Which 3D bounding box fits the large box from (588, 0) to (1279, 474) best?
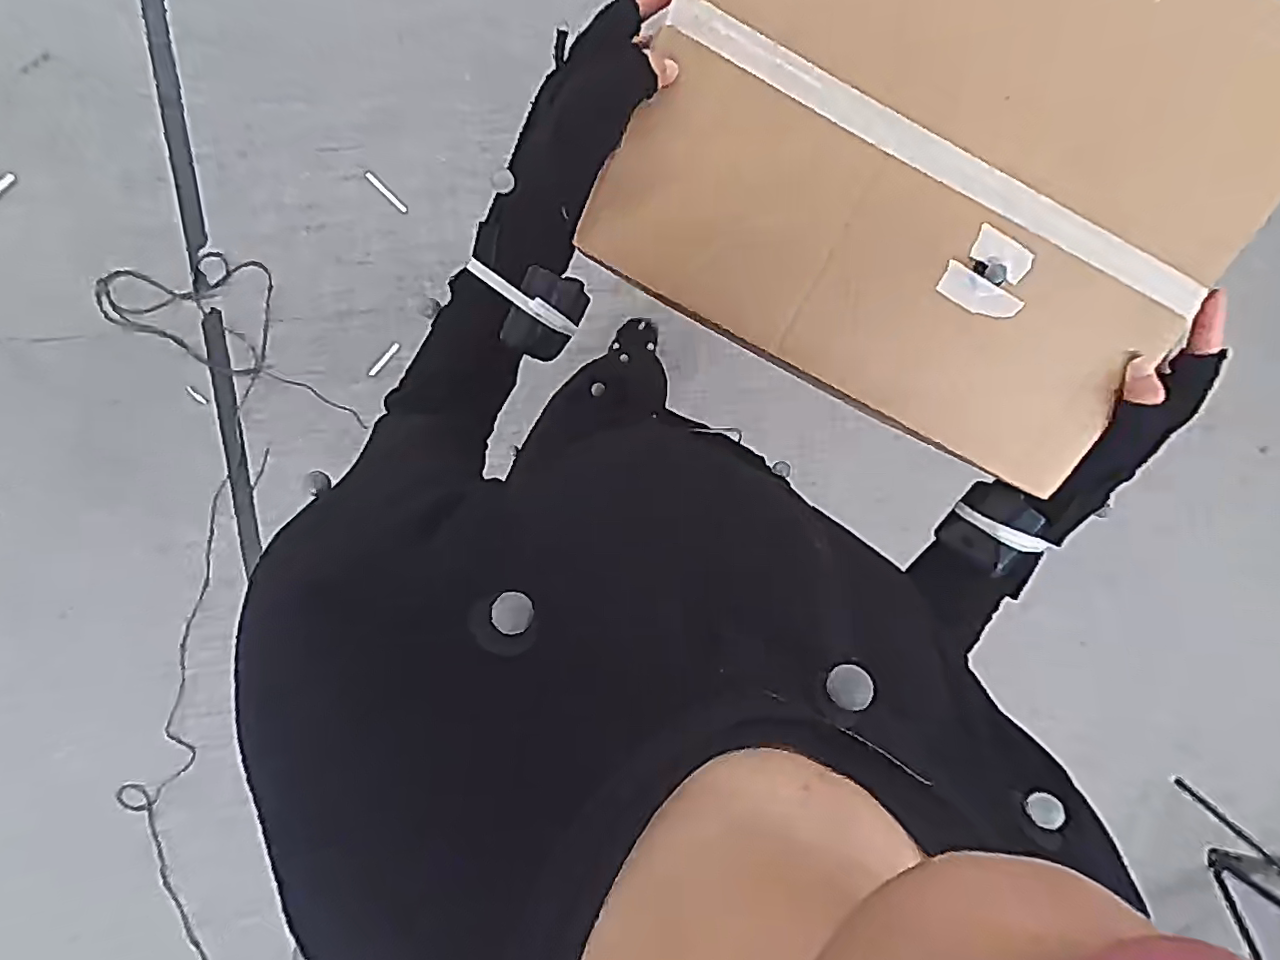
[{"bbox_3d":[0.209,-0.260,0.514,0.408,0.320,0.320,27,107,-5],"label":"large box"}]
